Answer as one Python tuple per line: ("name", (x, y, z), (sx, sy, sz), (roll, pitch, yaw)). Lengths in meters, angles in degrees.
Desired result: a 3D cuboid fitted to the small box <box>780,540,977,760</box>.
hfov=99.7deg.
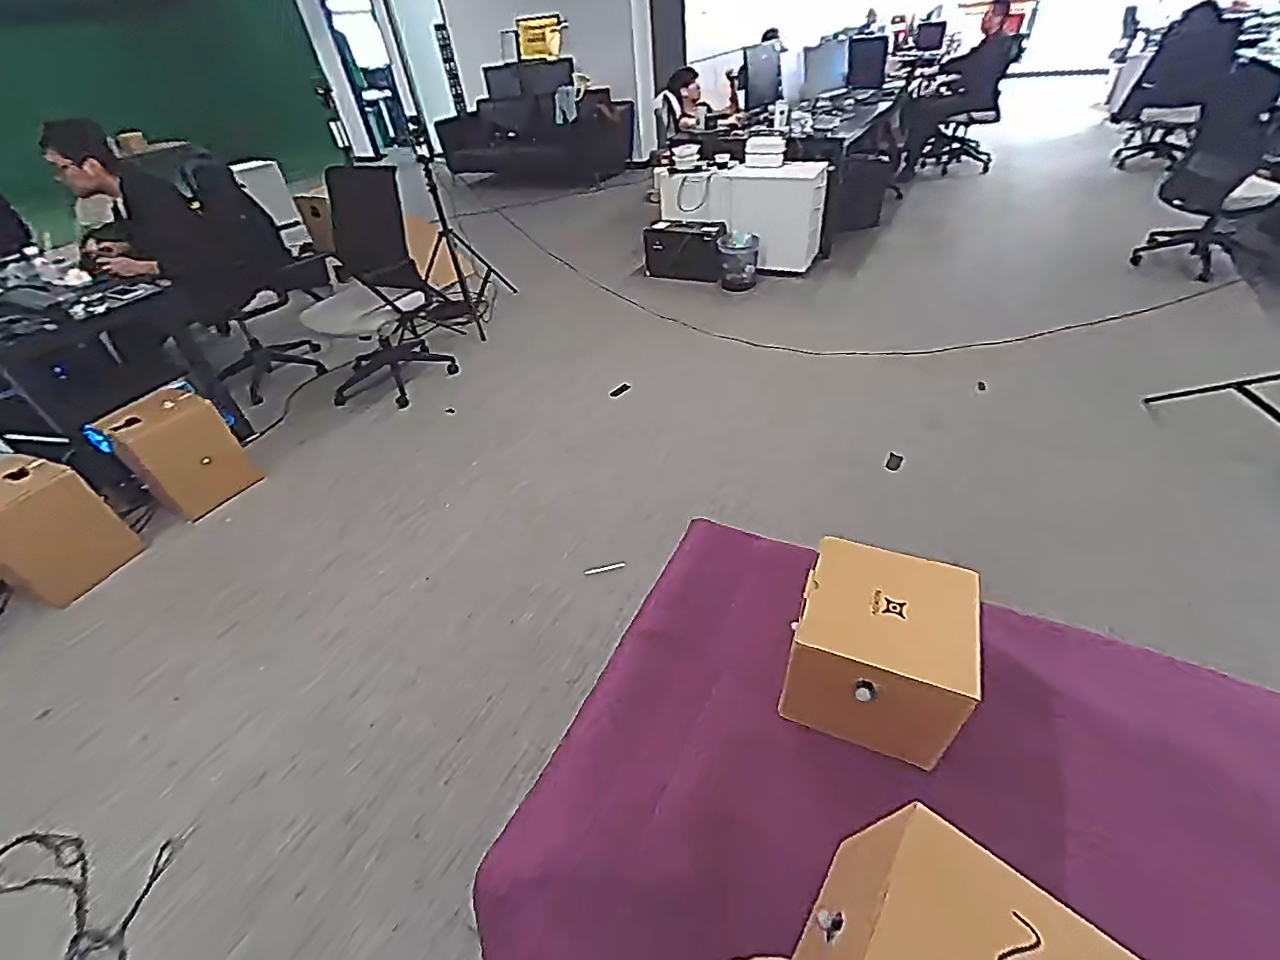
("small box", (0.278, 0.203, 0.646), (0.179, 0.176, 0.168), (13, 44, 21))
